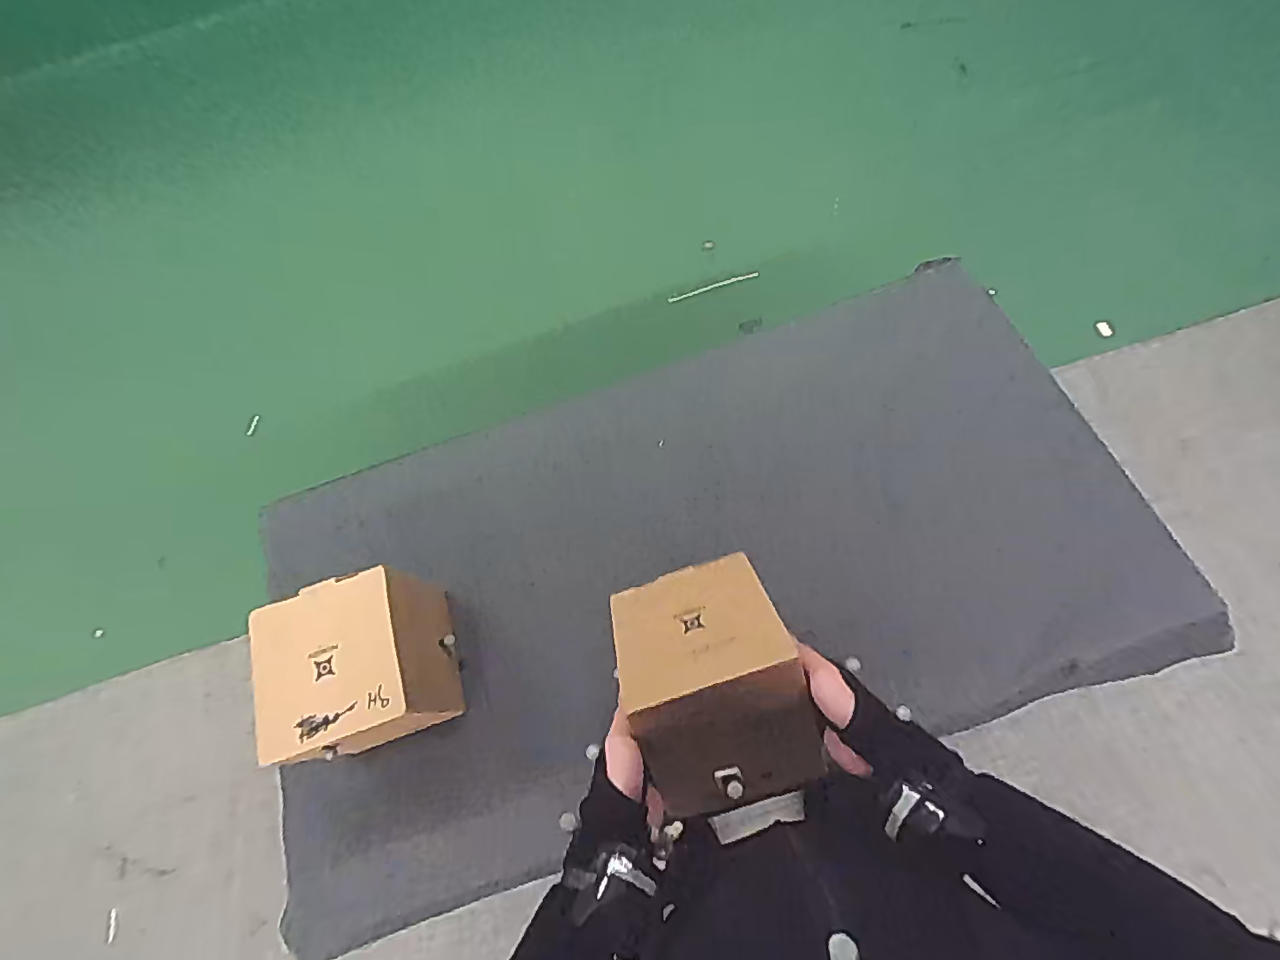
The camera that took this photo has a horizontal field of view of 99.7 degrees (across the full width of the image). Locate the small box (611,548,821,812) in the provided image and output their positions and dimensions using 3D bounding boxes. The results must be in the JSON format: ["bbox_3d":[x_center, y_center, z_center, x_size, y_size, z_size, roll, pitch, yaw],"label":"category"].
[{"bbox_3d":[0.075,0.207,0.579,0.168,0.176,0.179,-19,28,1],"label":"small box"}]

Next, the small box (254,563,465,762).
[{"bbox_3d":[-0.341,0.228,0.676,0.168,0.176,0.179,-20,68,-1],"label":"small box"}]
